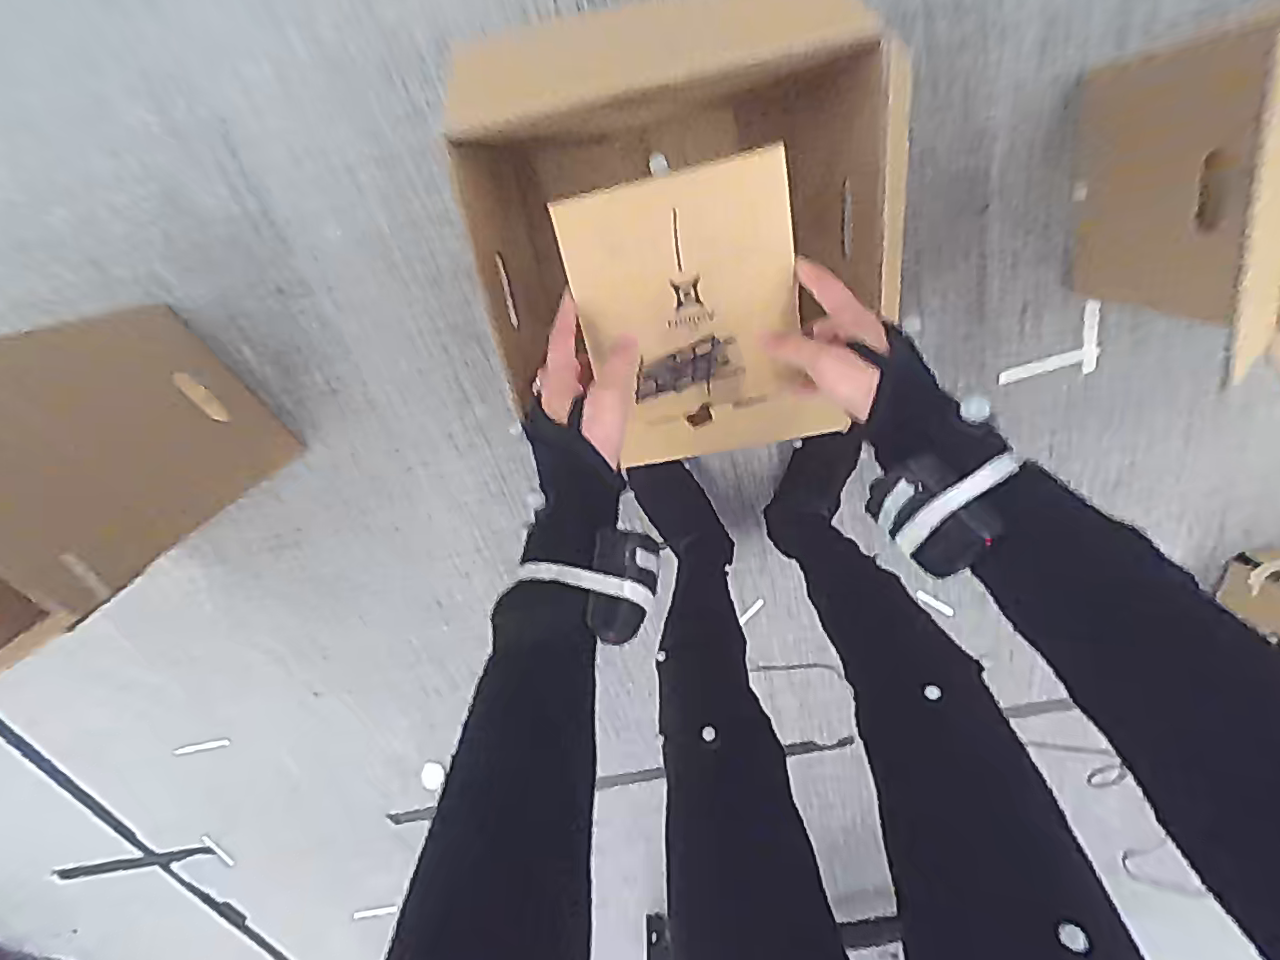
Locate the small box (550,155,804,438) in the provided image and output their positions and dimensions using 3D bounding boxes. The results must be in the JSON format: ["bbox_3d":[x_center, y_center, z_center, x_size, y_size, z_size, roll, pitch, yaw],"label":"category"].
[{"bbox_3d":[0.033,-0.160,0.467,0.168,0.176,0.179,-12,117,3],"label":"small box"}]
